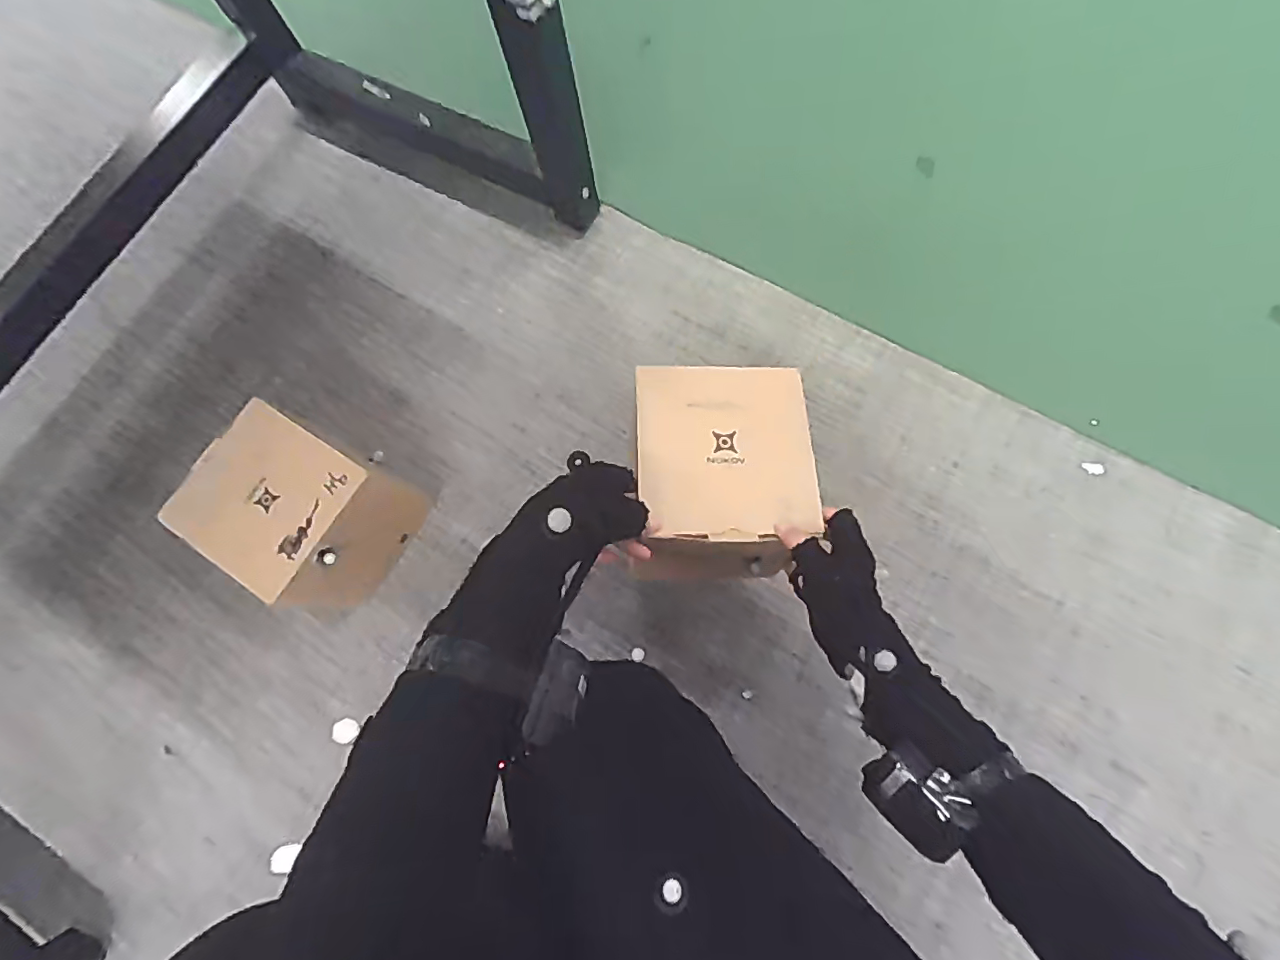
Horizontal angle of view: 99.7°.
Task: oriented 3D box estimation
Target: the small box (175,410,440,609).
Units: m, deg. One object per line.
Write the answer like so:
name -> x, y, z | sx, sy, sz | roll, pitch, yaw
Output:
small box -> -0.389, 0.047, 0.663 | 0.179, 0.176, 0.168 | 30, 81, 12
